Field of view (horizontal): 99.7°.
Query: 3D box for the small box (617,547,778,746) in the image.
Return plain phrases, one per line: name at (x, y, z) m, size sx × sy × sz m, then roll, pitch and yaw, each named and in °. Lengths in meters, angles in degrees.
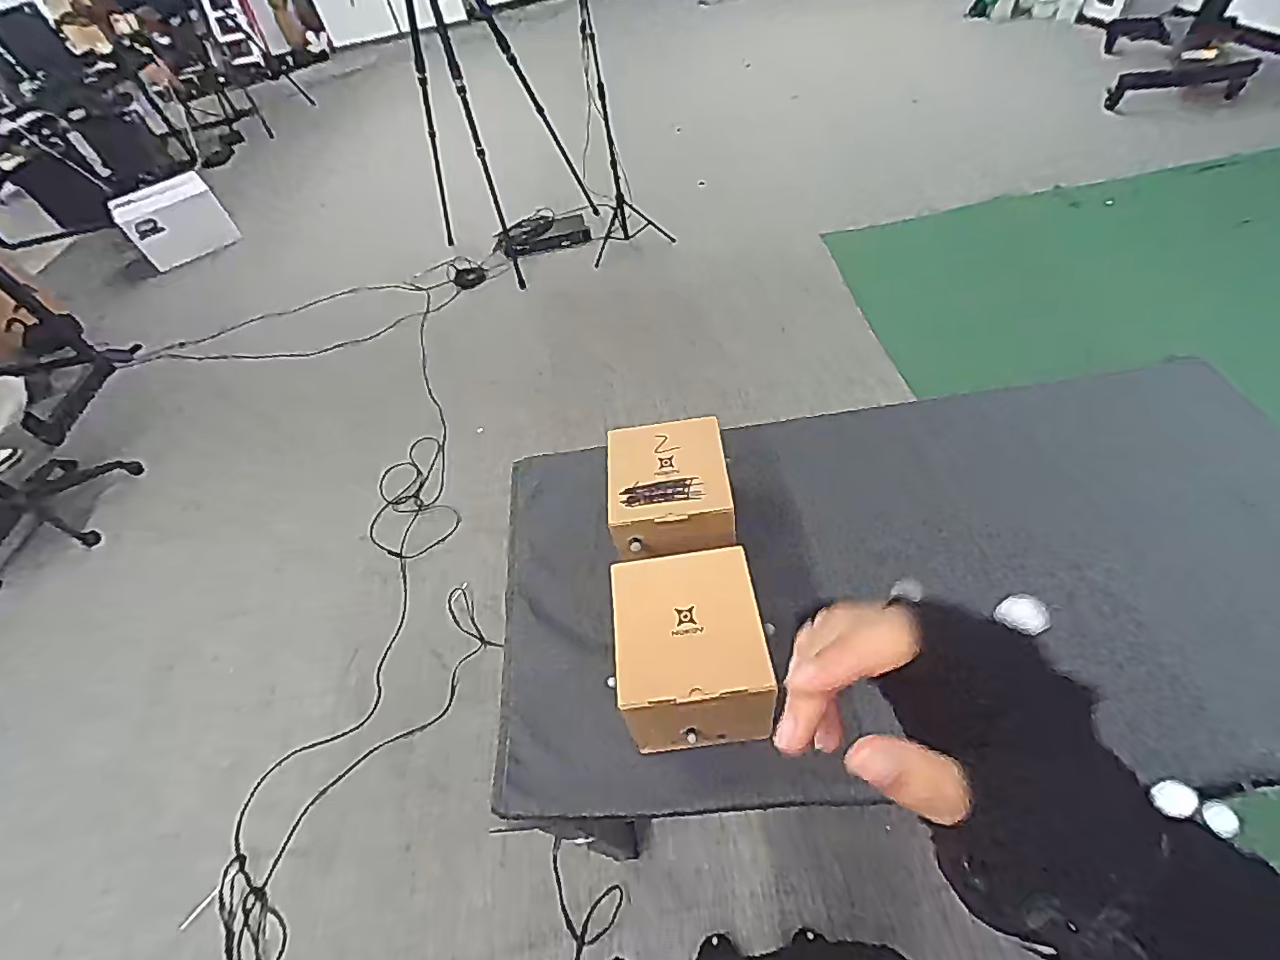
small box at (0.066, 0.209, 0.674) m, size 0.168 × 0.176 × 0.179 m, roll -9°, pitch 49°, yaw 3°
